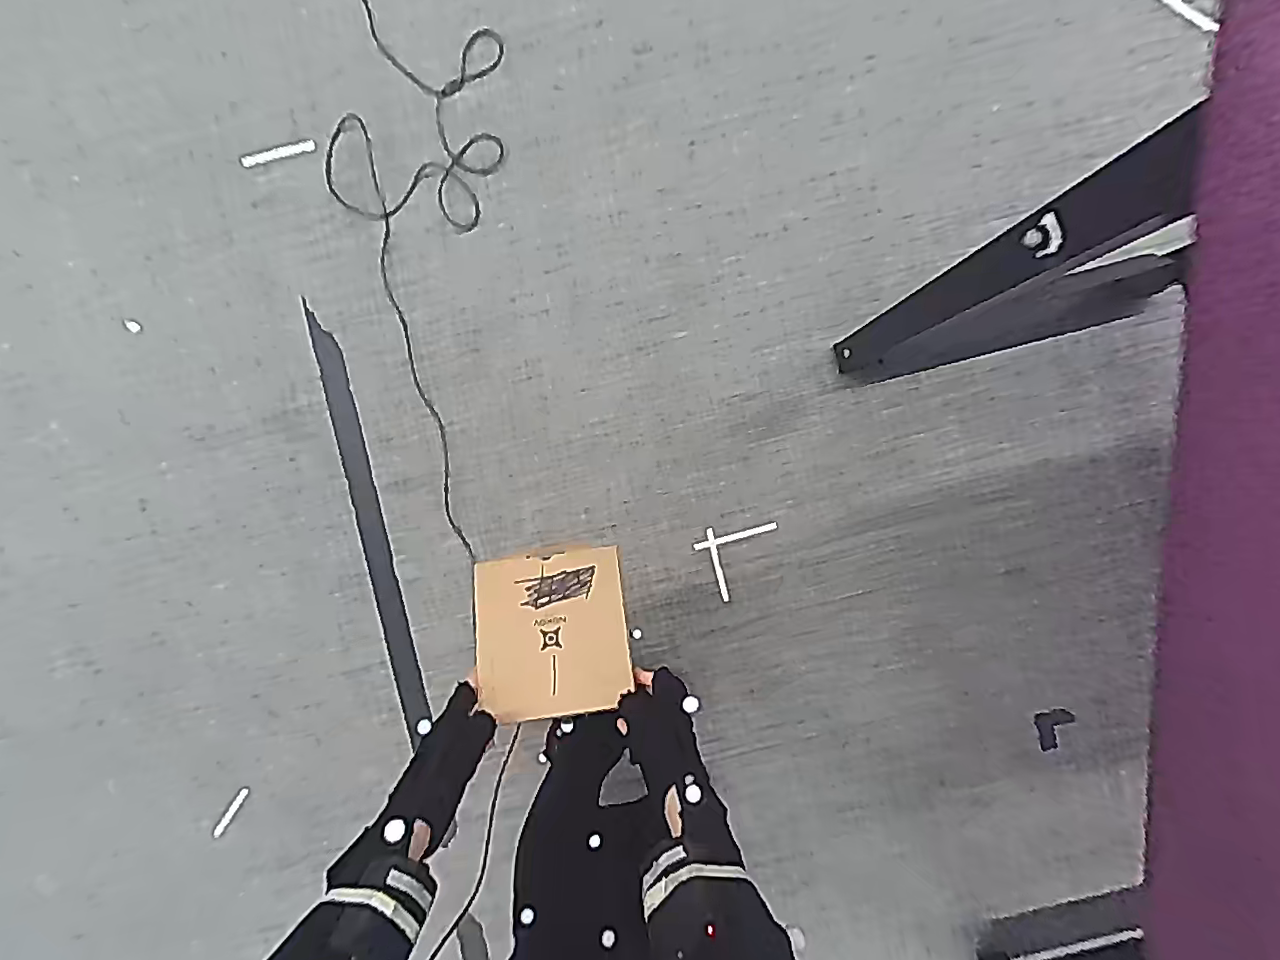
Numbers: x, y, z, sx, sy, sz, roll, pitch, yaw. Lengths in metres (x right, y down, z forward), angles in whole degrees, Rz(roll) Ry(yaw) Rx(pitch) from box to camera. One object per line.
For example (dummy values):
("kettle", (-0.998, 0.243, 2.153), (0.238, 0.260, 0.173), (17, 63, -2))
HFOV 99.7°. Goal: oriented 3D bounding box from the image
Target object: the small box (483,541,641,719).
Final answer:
("small box", (-0.091, 0.189, 0.664), (0.168, 0.176, 0.179), (-7, 68, -3))
